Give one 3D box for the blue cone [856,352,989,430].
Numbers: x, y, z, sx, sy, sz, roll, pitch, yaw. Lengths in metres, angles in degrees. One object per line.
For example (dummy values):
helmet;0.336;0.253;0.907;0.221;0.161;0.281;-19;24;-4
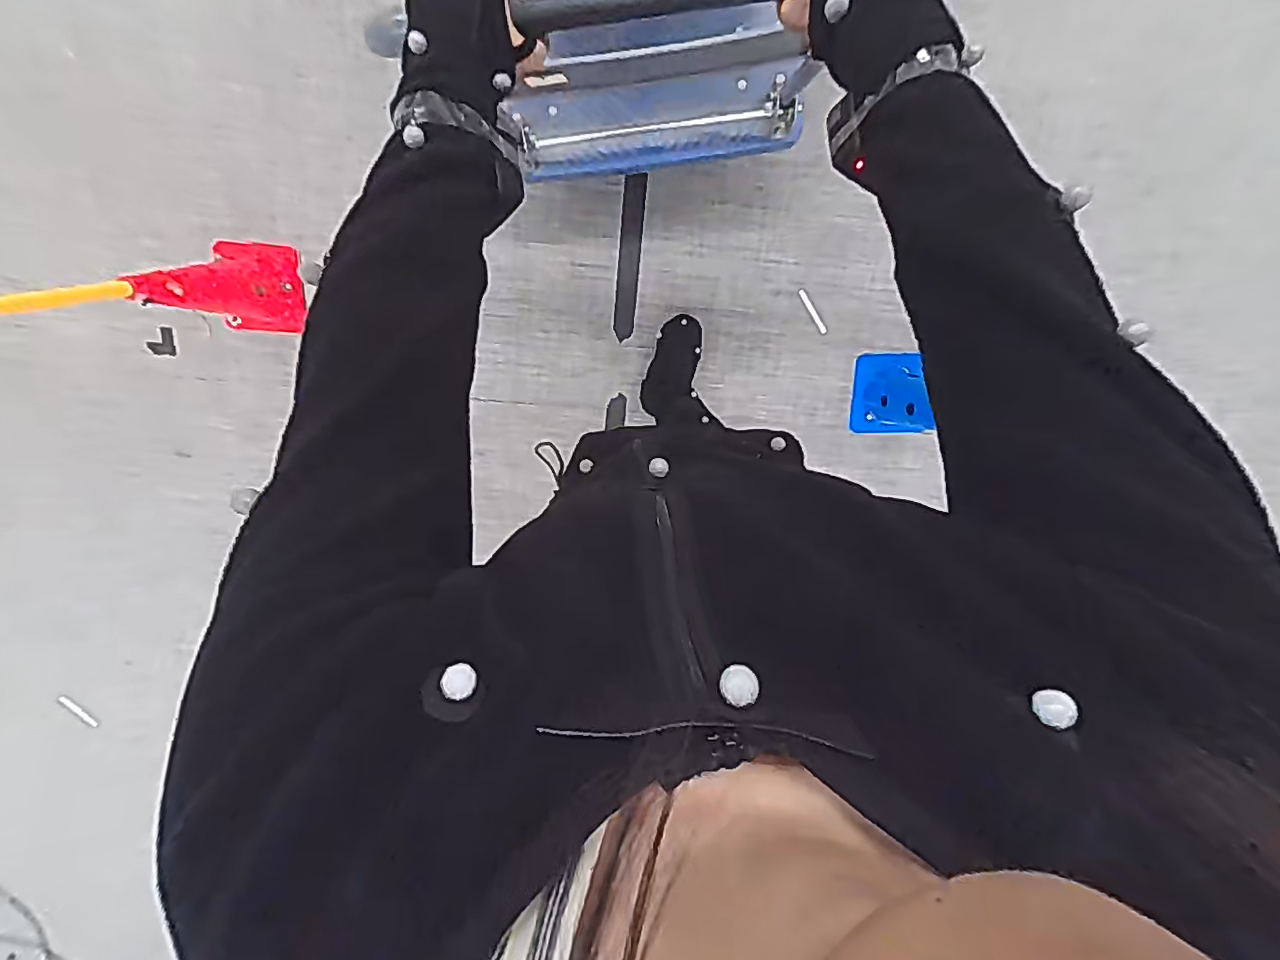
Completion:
blue cone;0.634;-0.168;1.186;0.193;0.380;0.192;1;108;0
